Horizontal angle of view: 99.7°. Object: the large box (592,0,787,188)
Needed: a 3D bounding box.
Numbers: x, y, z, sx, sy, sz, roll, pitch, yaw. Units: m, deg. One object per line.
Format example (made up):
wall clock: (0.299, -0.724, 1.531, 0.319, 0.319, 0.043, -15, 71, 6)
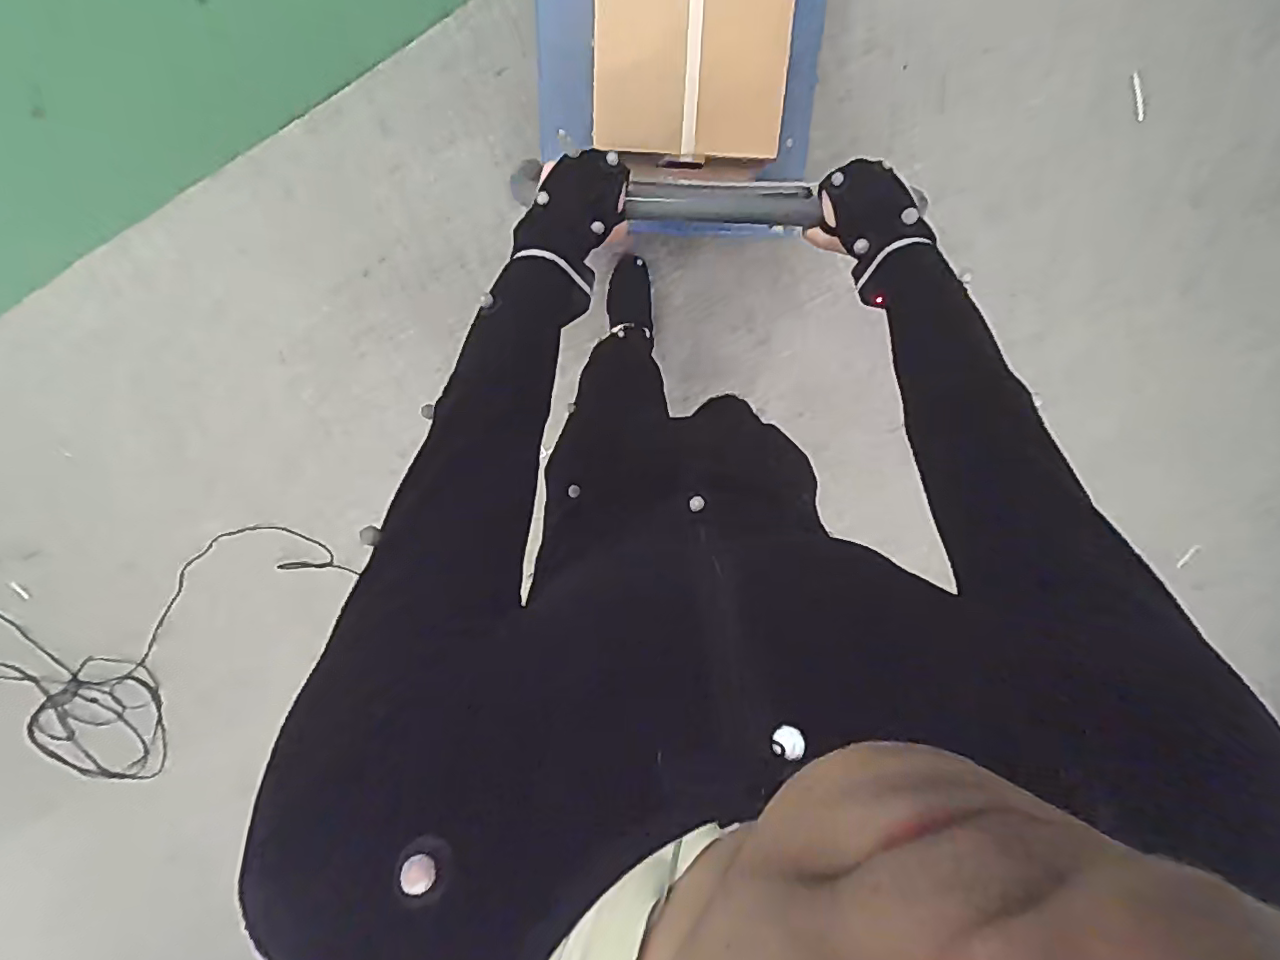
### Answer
large box: (0.079, -0.791, 1.003, 0.320, 0.320, 0.408, 2, 110, -2)
